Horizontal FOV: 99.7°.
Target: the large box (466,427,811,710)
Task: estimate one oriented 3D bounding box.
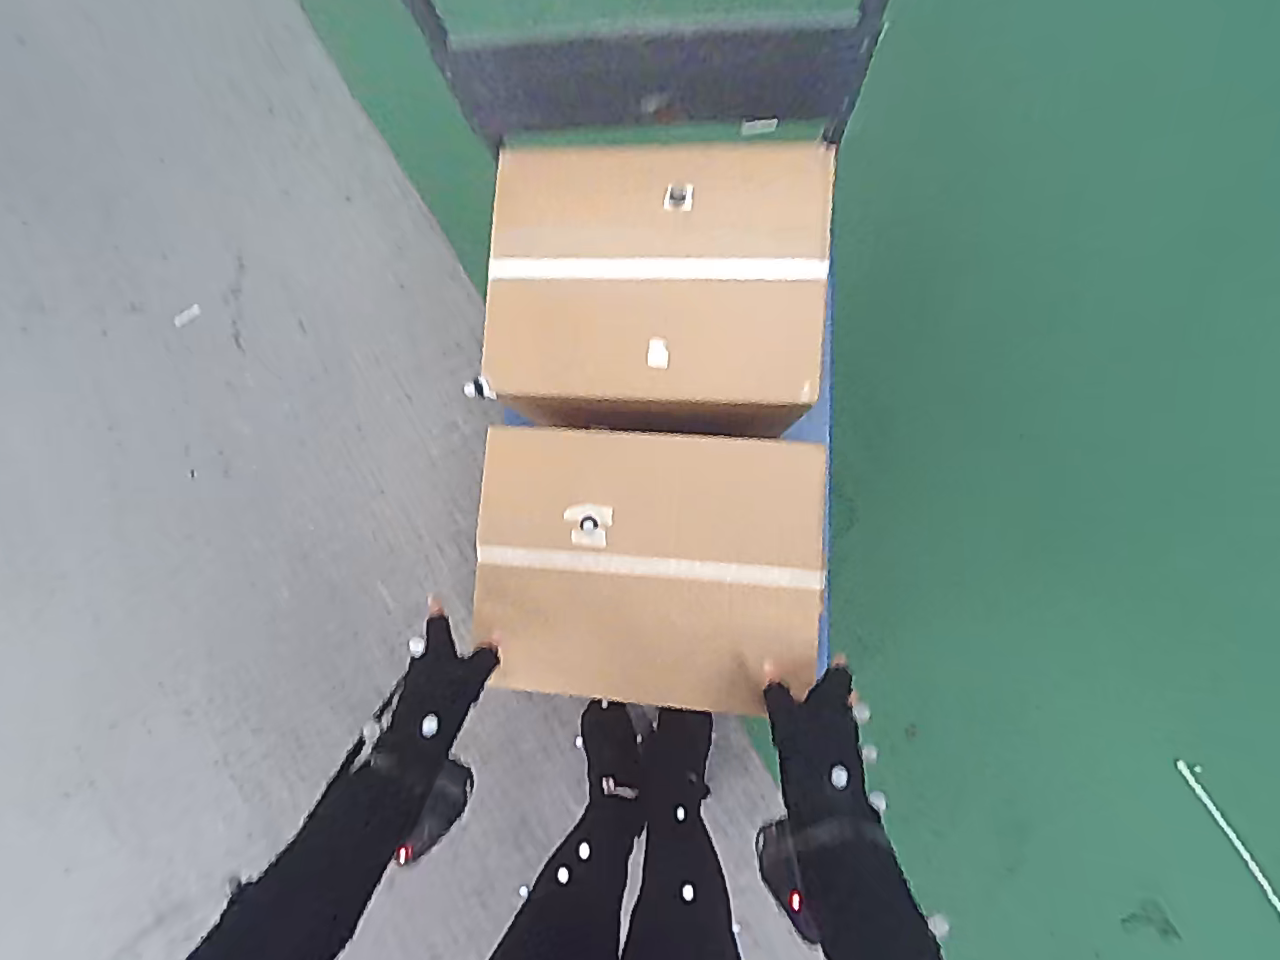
[{"bbox_3d":[0.013,0.103,0.785,0.408,0.320,0.320,4,87,8],"label":"large box"}]
